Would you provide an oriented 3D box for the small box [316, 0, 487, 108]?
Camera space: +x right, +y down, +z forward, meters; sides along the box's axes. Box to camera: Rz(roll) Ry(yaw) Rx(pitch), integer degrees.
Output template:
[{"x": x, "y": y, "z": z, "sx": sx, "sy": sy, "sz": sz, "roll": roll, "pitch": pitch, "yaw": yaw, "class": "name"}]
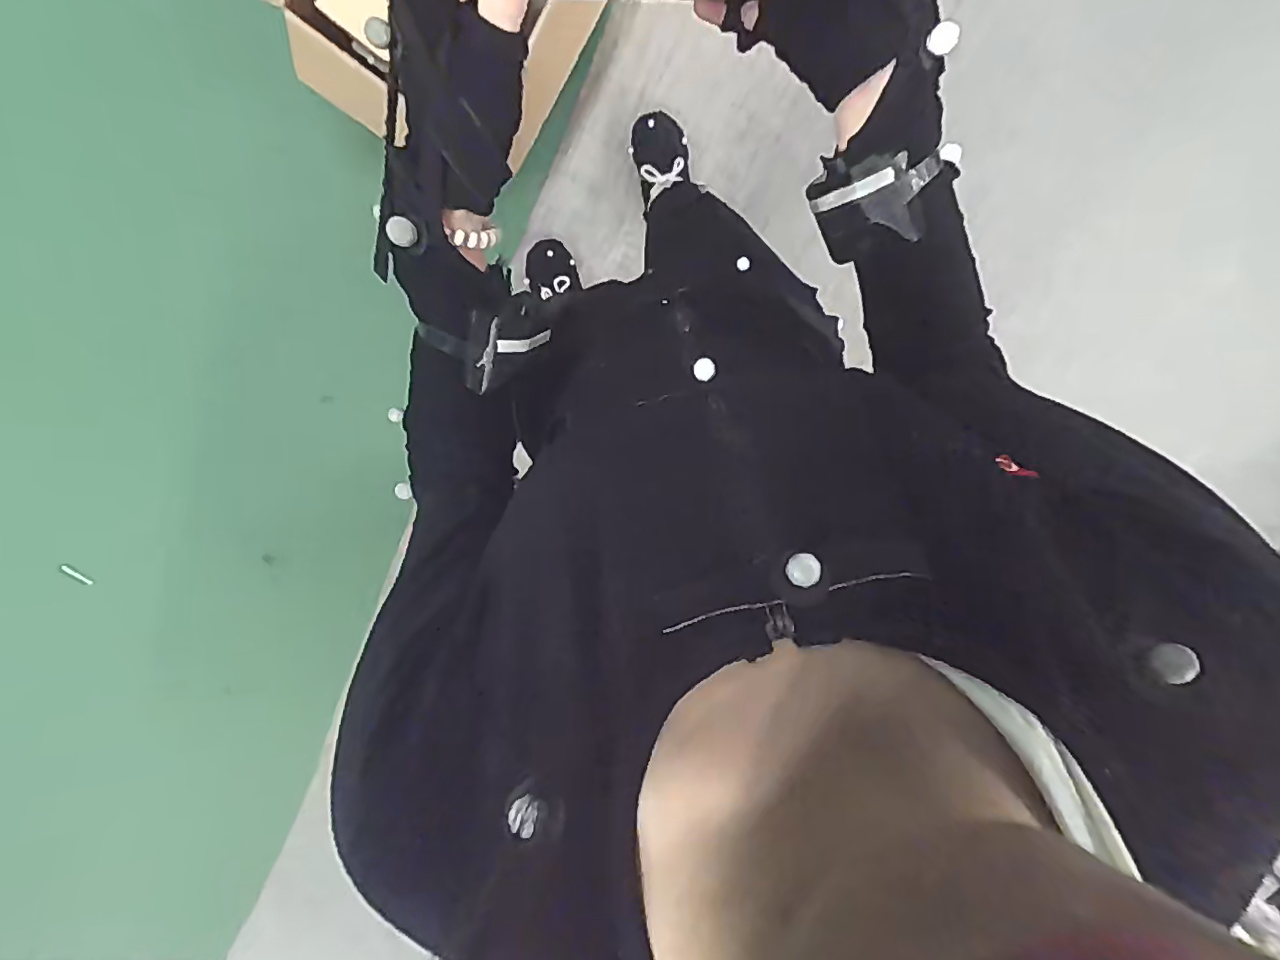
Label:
[{"x": -0.358, "y": -0.723, "z": 0.845, "sx": 0.179, "sy": 0.176, "sz": 0.168, "roll": 31, "pitch": 107, "yaw": -25, "class": "small box"}]
